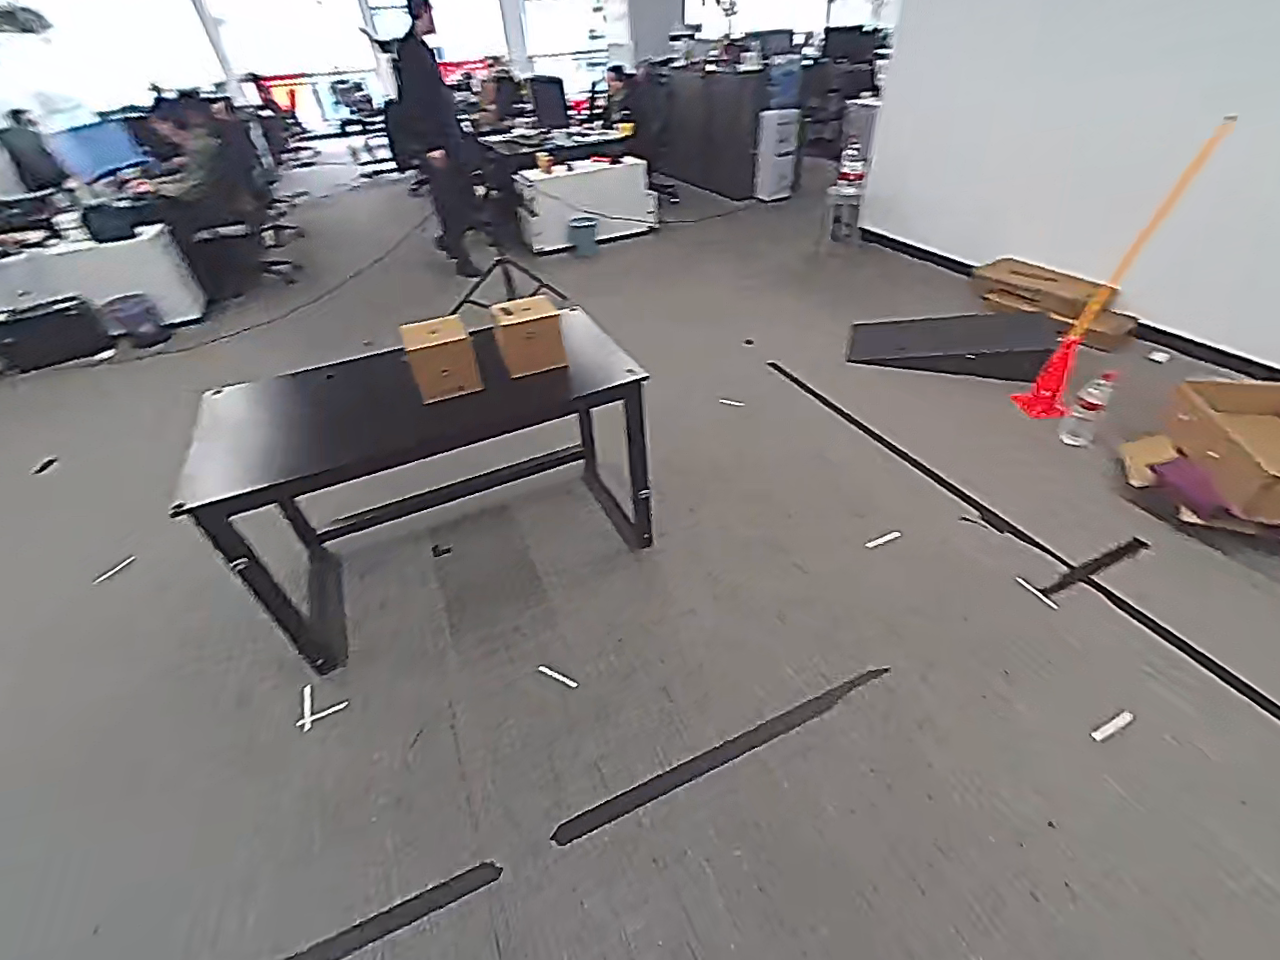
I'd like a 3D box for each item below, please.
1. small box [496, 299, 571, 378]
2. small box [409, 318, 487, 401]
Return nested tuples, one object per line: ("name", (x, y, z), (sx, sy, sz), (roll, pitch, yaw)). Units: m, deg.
("small box", (-0.323, -0.430, 1.654), (0.179, 0.176, 0.168), (-17, 41, -16))
("small box", (-0.556, -0.345, 1.574), (0.168, 0.176, 0.179), (-17, 42, -16))
